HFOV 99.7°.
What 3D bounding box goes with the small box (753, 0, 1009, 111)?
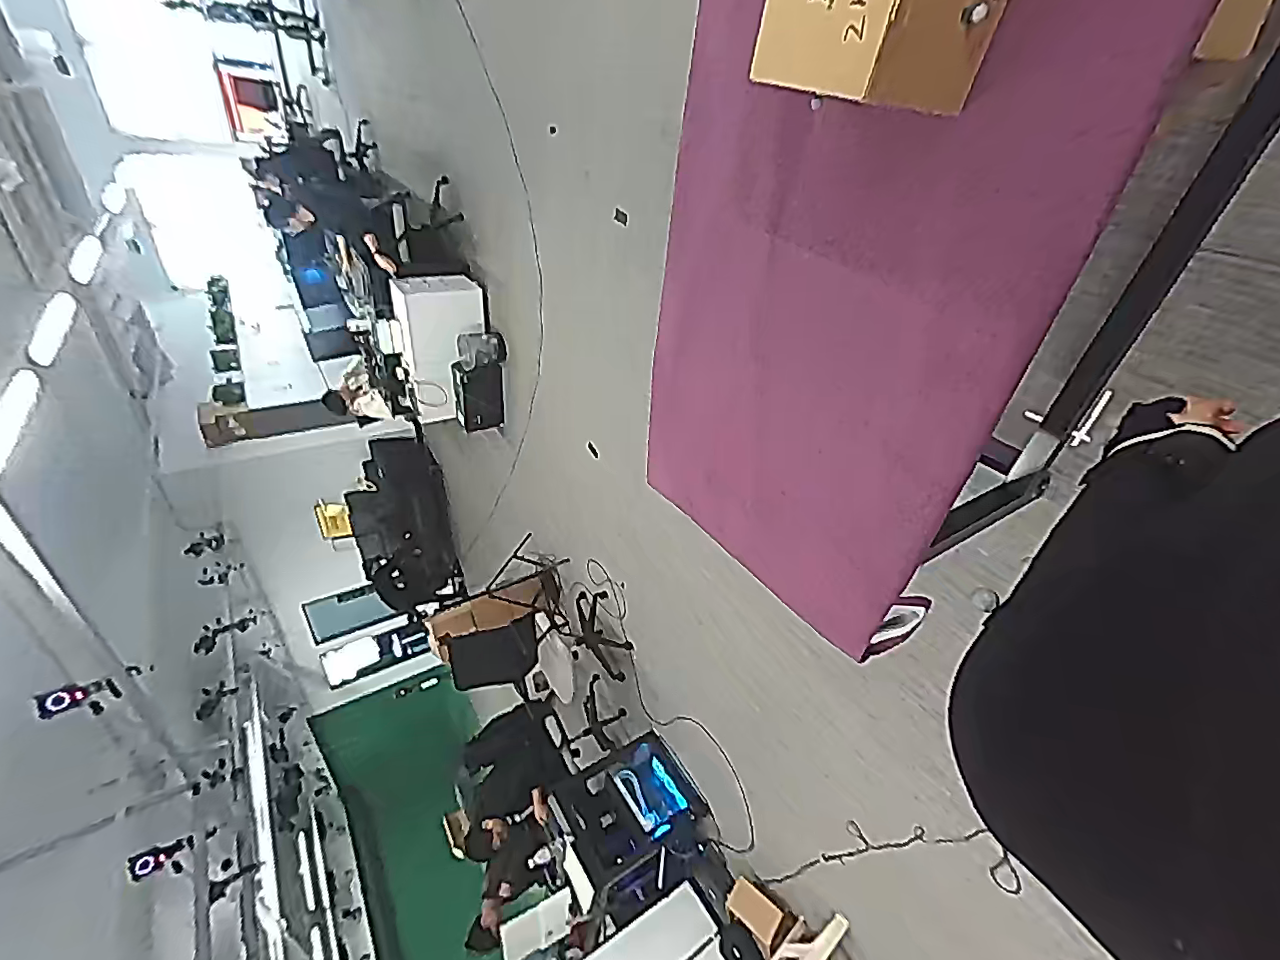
[{"bbox_3d":[0.255,-0.500,0.565,0.179,0.176,0.168,49,142,39],"label":"small box"}]
